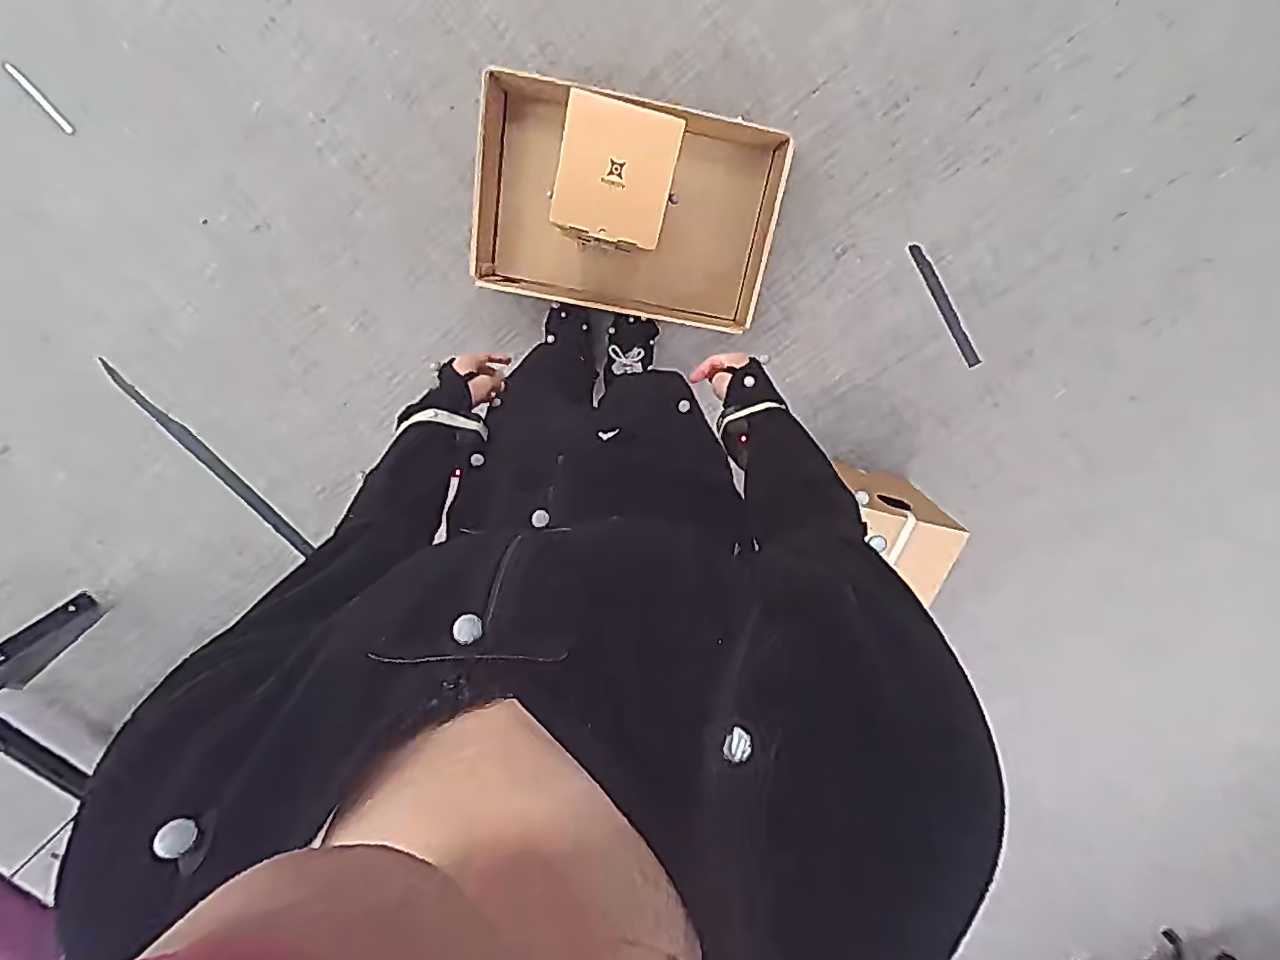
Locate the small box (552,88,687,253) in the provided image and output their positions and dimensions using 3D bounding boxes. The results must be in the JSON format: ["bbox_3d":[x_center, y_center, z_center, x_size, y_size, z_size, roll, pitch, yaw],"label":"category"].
[{"bbox_3d":[-0.035,-0.469,0.849,0.168,0.176,0.179,12,111,-7],"label":"small box"}]
